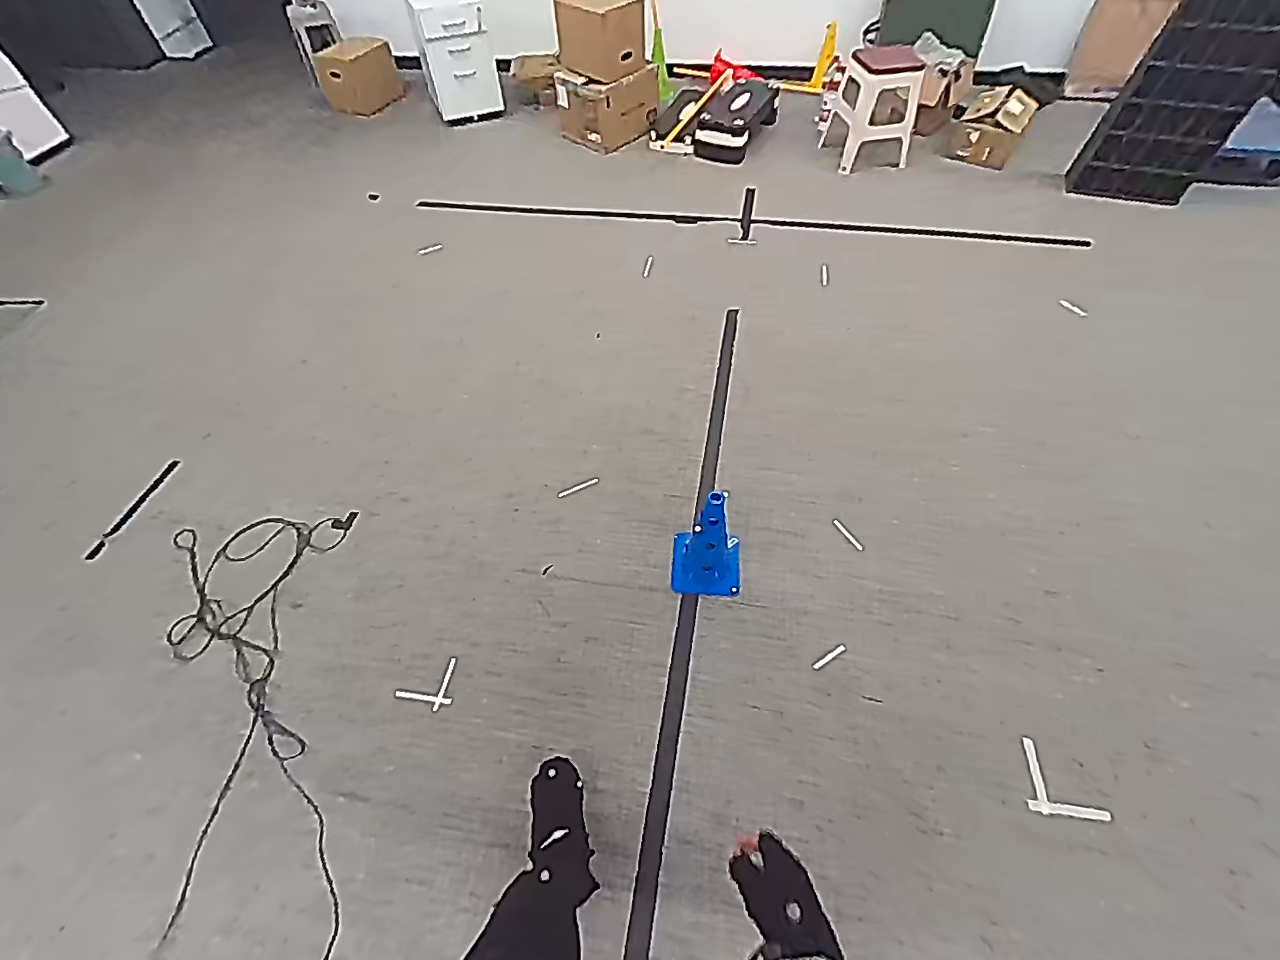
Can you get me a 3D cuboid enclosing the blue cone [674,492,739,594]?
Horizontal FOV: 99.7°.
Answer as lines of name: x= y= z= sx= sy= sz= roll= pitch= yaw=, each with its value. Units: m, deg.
blue cone: x=0.198 y=0.151 z=1.476 sx=0.192 sy=0.380 sz=0.193 roll=6 pitch=55 yaw=5
